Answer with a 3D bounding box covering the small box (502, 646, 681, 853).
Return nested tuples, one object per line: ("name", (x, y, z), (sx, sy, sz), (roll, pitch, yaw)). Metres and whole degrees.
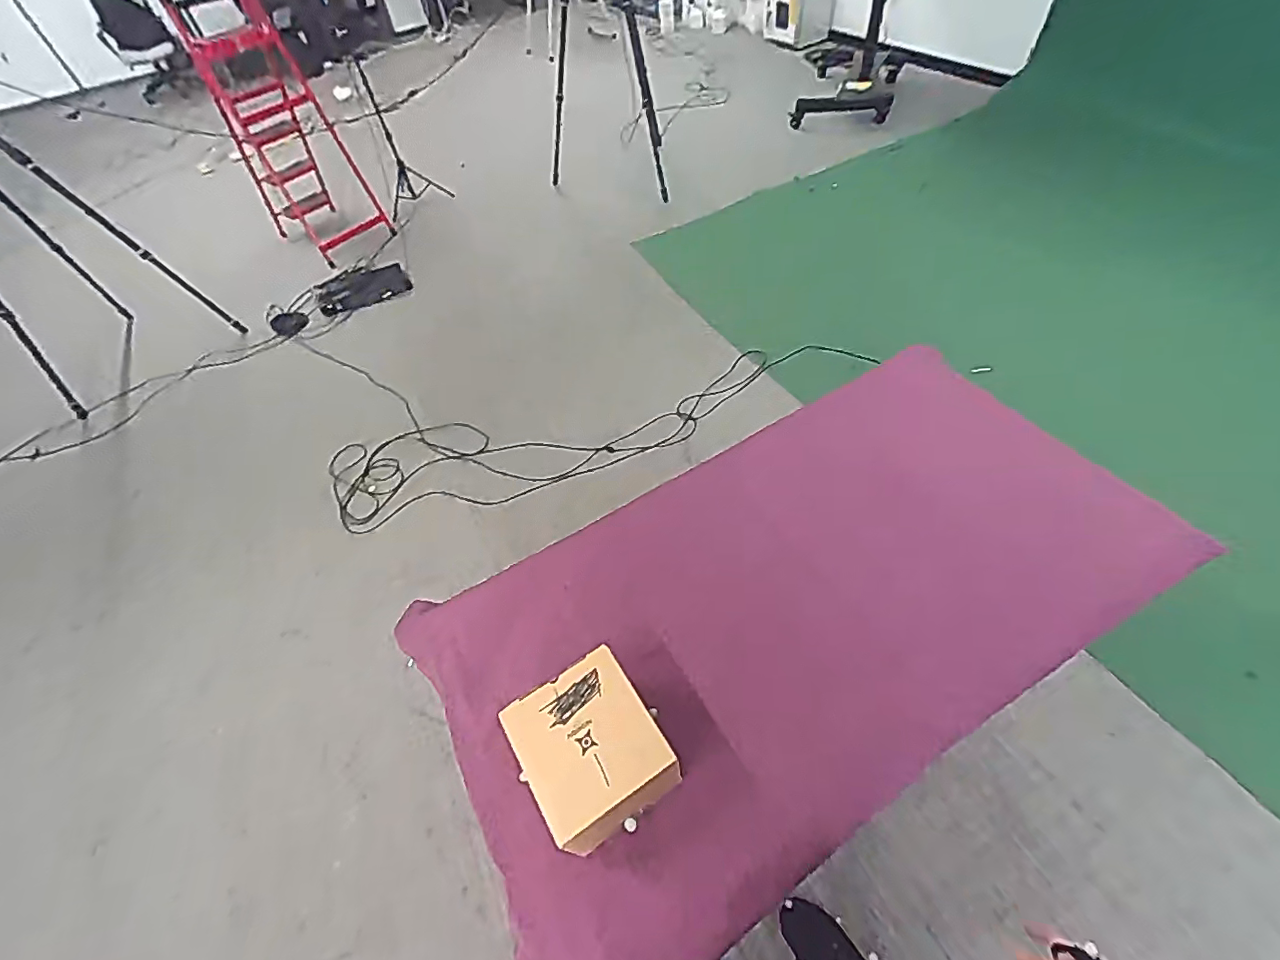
("small box", (-0.059, 0.365, 0.729), (0.168, 0.176, 0.179), (-29, 56, -16))
